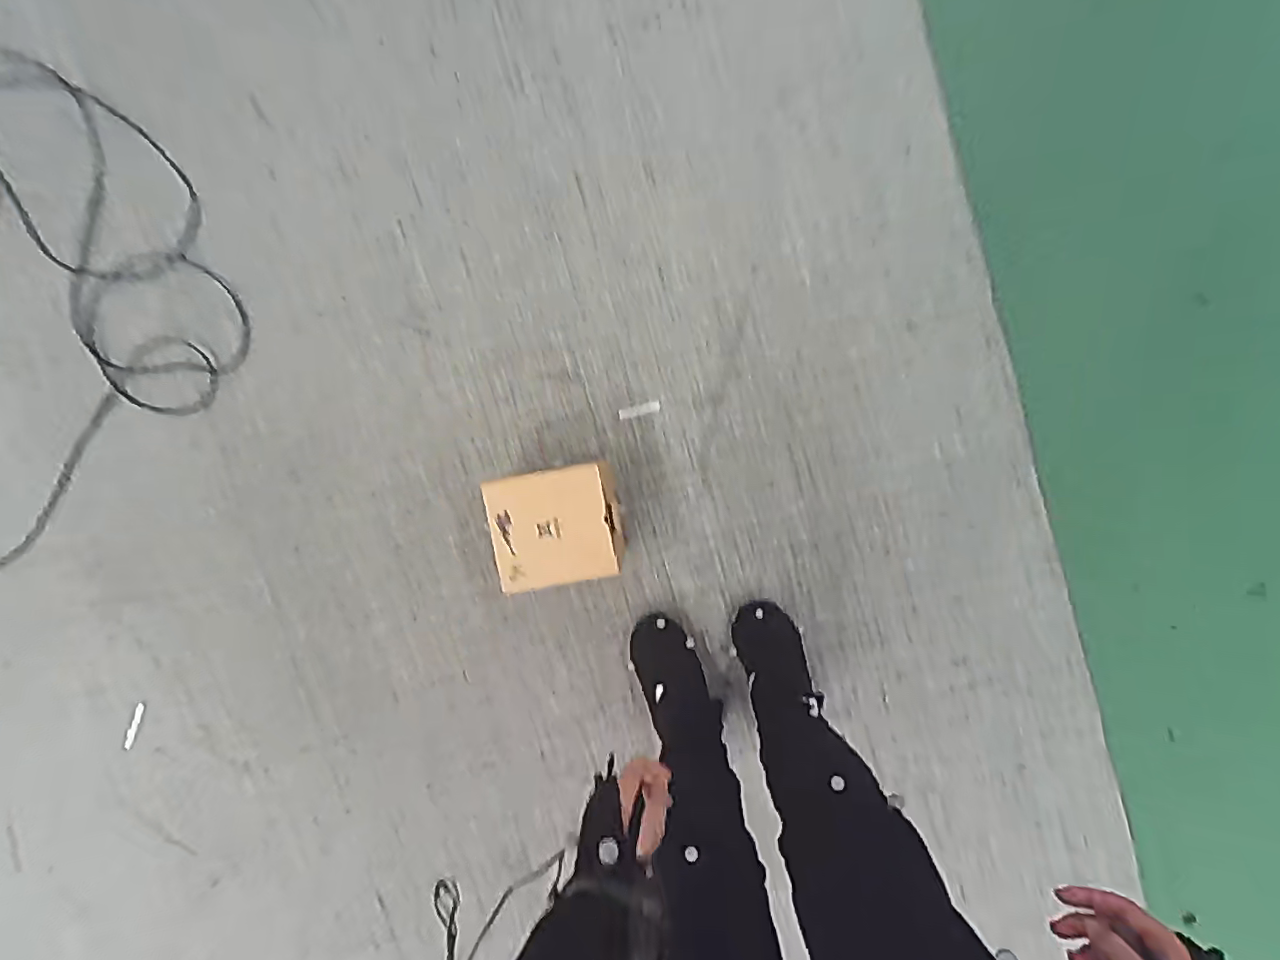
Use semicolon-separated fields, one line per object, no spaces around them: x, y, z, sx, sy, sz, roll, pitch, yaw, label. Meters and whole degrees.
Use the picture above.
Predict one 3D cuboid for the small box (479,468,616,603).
-0.135;0.078;0.861;0.179;0.176;0.168;-10;95;1;small box
